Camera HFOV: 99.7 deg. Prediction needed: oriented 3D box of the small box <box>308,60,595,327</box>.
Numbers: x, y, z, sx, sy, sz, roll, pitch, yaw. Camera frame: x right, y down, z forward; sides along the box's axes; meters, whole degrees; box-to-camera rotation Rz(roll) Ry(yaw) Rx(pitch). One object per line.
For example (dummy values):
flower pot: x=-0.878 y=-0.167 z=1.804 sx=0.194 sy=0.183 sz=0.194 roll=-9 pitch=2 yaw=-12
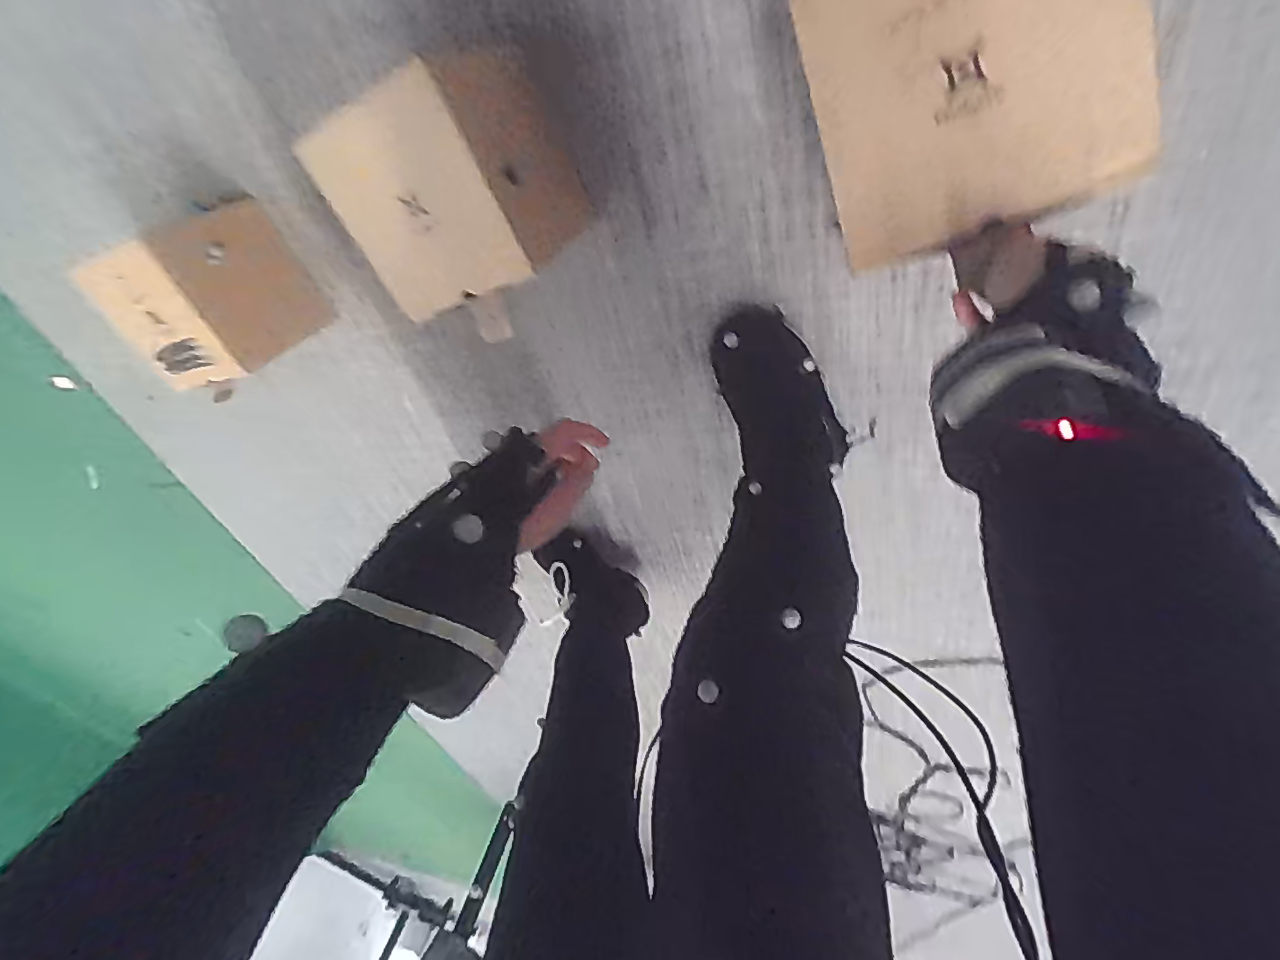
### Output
small box: x=-0.170 y=-0.287 z=0.544 sx=0.168 sy=0.176 sz=0.179 roll=-9 pitch=126 yaw=27

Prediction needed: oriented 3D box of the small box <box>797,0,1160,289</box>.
small box: x=0.226 y=-0.251 z=0.389 sx=0.168 sy=0.176 sz=0.179 roll=-12 pitch=101 yaw=27
